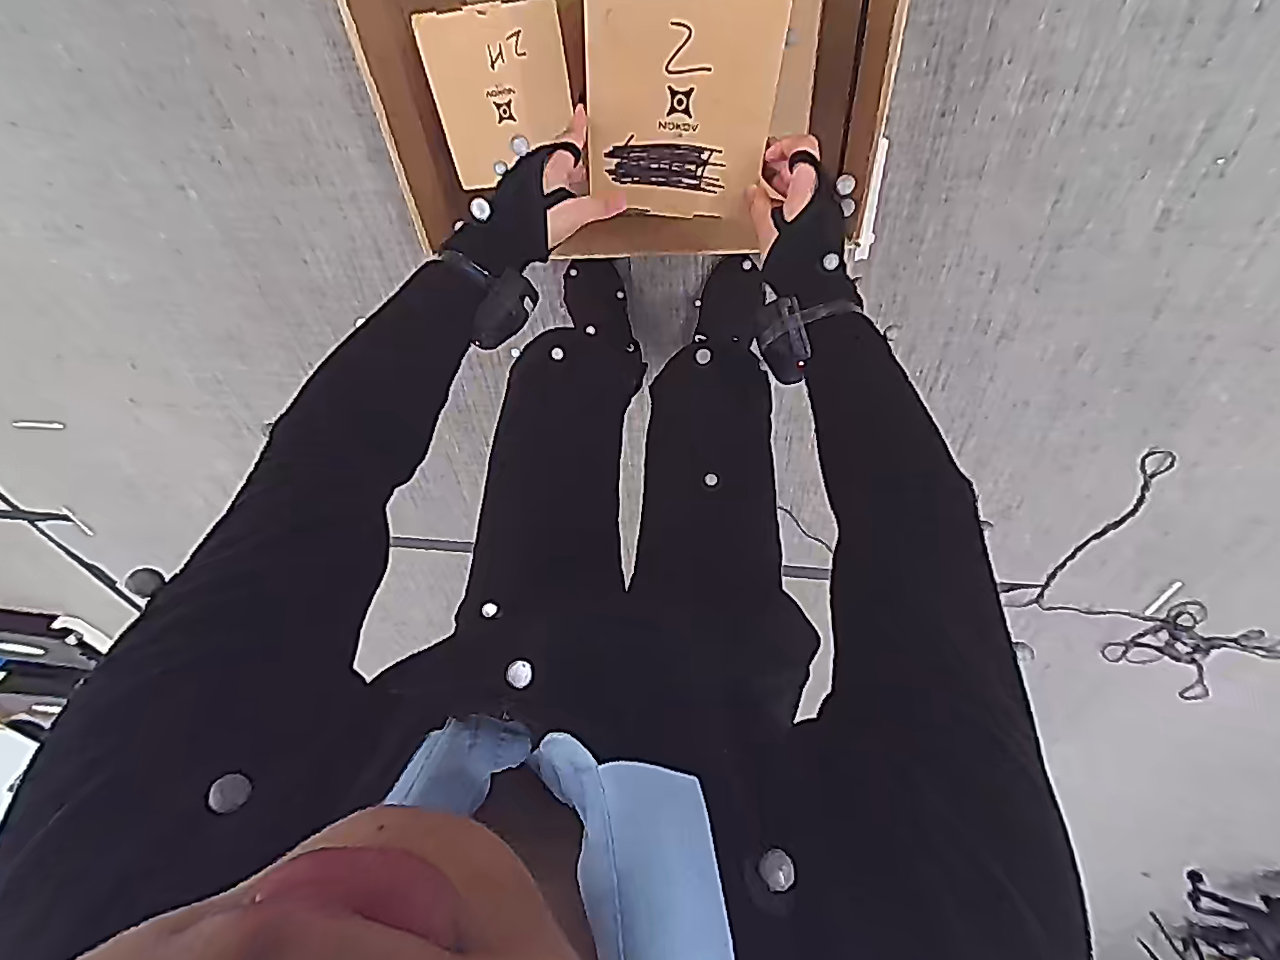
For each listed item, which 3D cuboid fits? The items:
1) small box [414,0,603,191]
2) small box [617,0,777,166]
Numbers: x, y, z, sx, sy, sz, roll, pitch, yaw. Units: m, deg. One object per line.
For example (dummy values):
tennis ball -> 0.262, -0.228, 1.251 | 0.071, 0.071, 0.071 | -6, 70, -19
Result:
small box -> -0.148, -0.491, 0.687 | 0.168, 0.176, 0.179 | -1, 132, 8
small box -> 0.066, -0.499, 0.646 | 0.168, 0.176, 0.179 | 6, 135, 6
